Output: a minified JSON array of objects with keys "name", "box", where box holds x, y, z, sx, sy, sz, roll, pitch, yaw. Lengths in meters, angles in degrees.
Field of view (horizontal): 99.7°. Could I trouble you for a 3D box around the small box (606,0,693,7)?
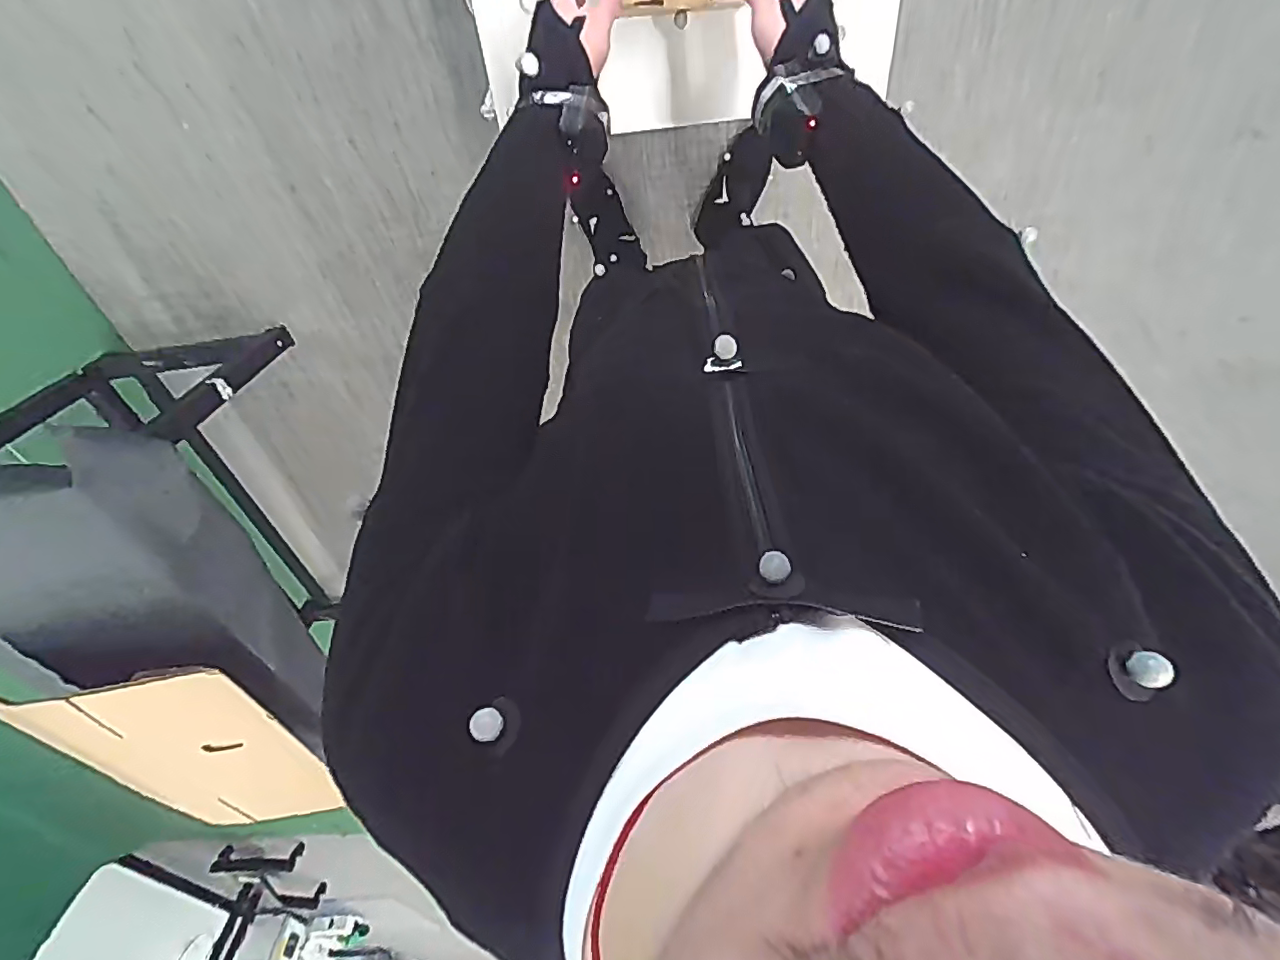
[{"name":"small box","box":[0.040,-0.588,0.531,0.168,0.176,0.179,-4,127,4]}]
